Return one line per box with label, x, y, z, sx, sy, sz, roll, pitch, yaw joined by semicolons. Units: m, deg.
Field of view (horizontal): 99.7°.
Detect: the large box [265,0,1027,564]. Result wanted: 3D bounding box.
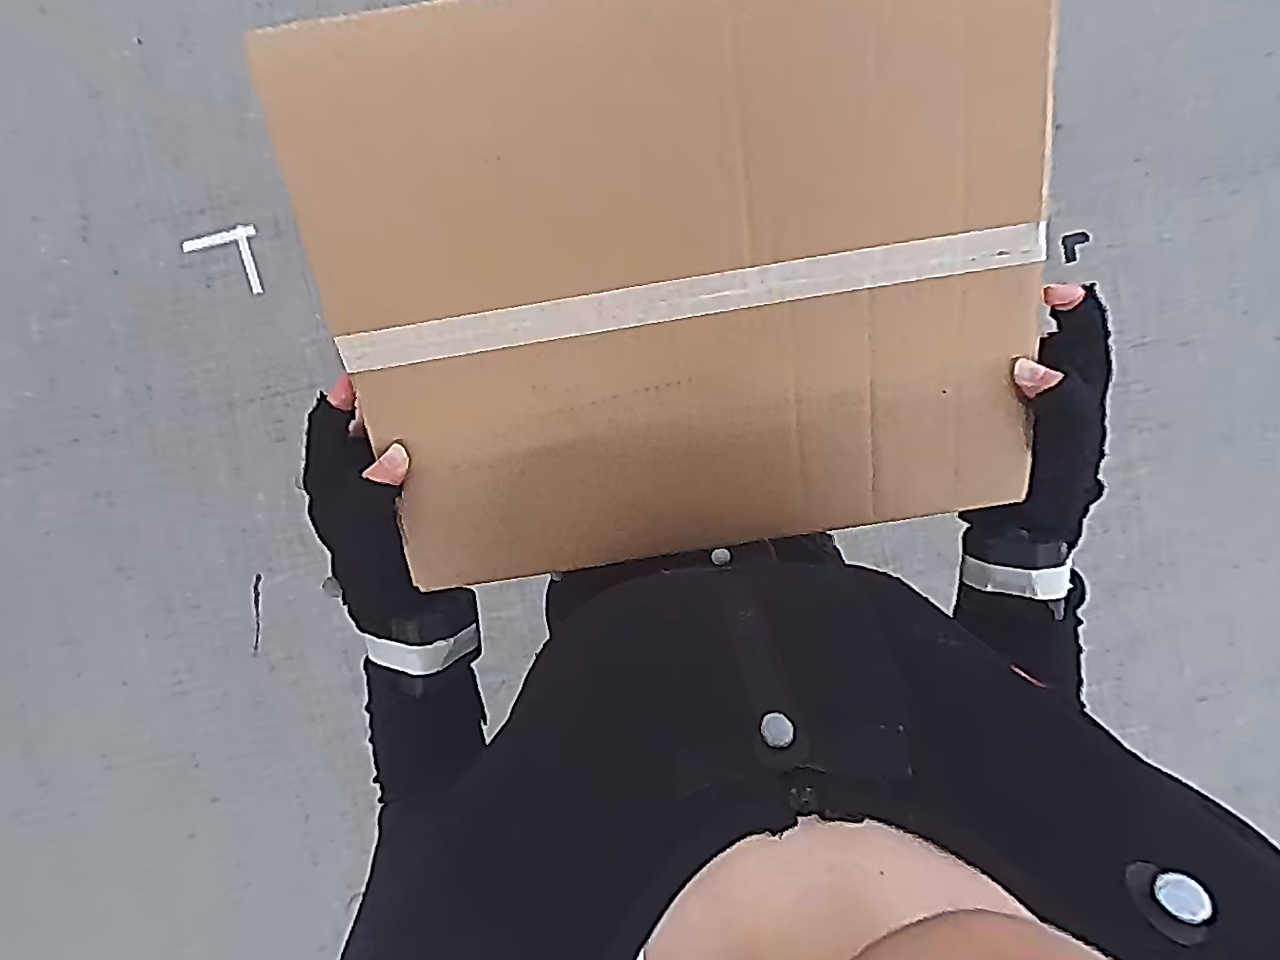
large box;0.016;-0.160;0.460;0.408;0.320;0.320;-9;109;0
